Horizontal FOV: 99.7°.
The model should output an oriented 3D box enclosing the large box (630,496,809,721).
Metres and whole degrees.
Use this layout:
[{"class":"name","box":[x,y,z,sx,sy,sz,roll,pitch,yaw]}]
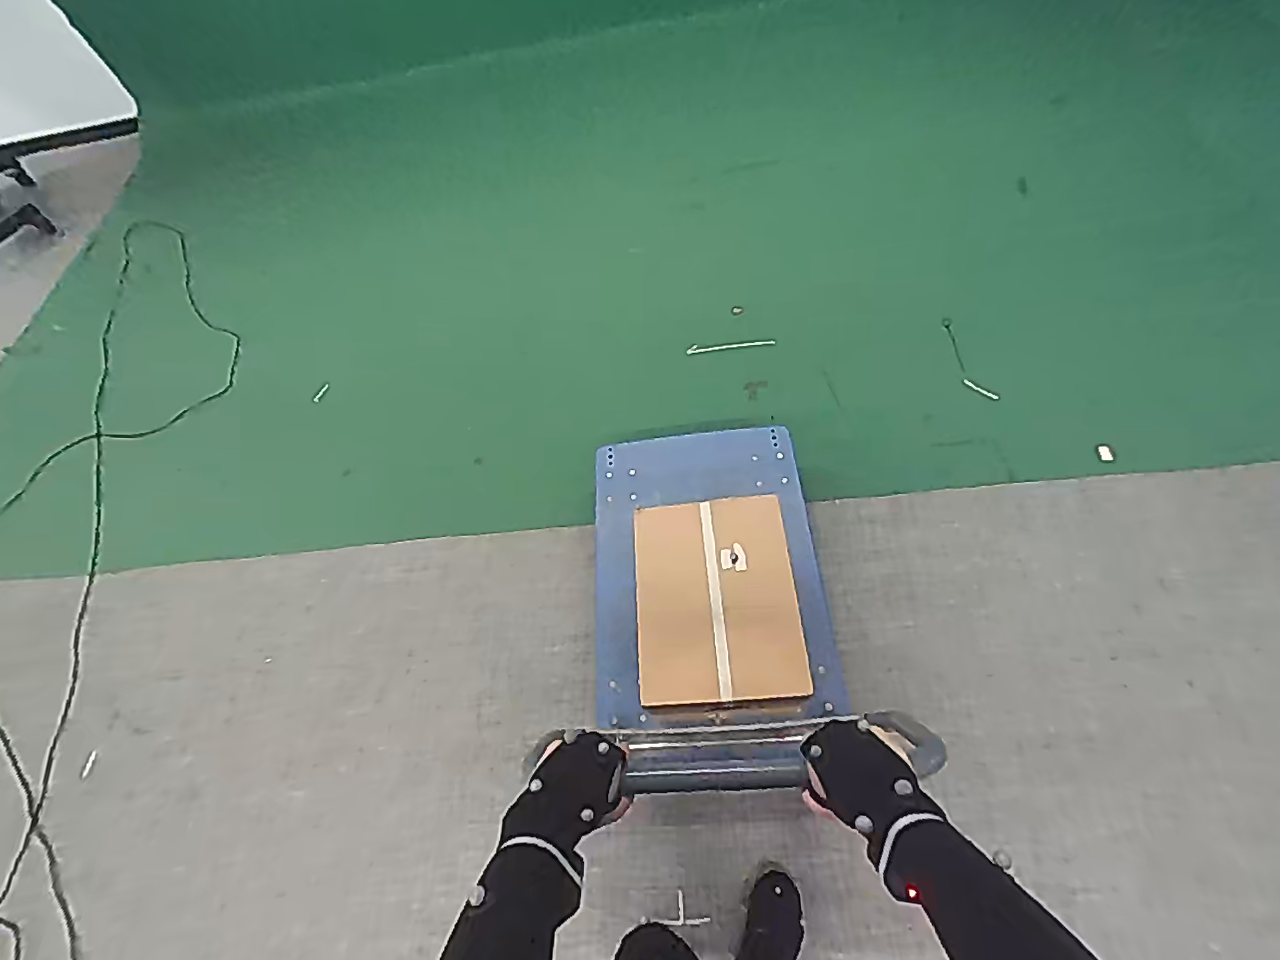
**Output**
[{"class":"large box","box":[0.164,0.296,1.207,0.320,0.320,0.408,-7,60,5]}]
